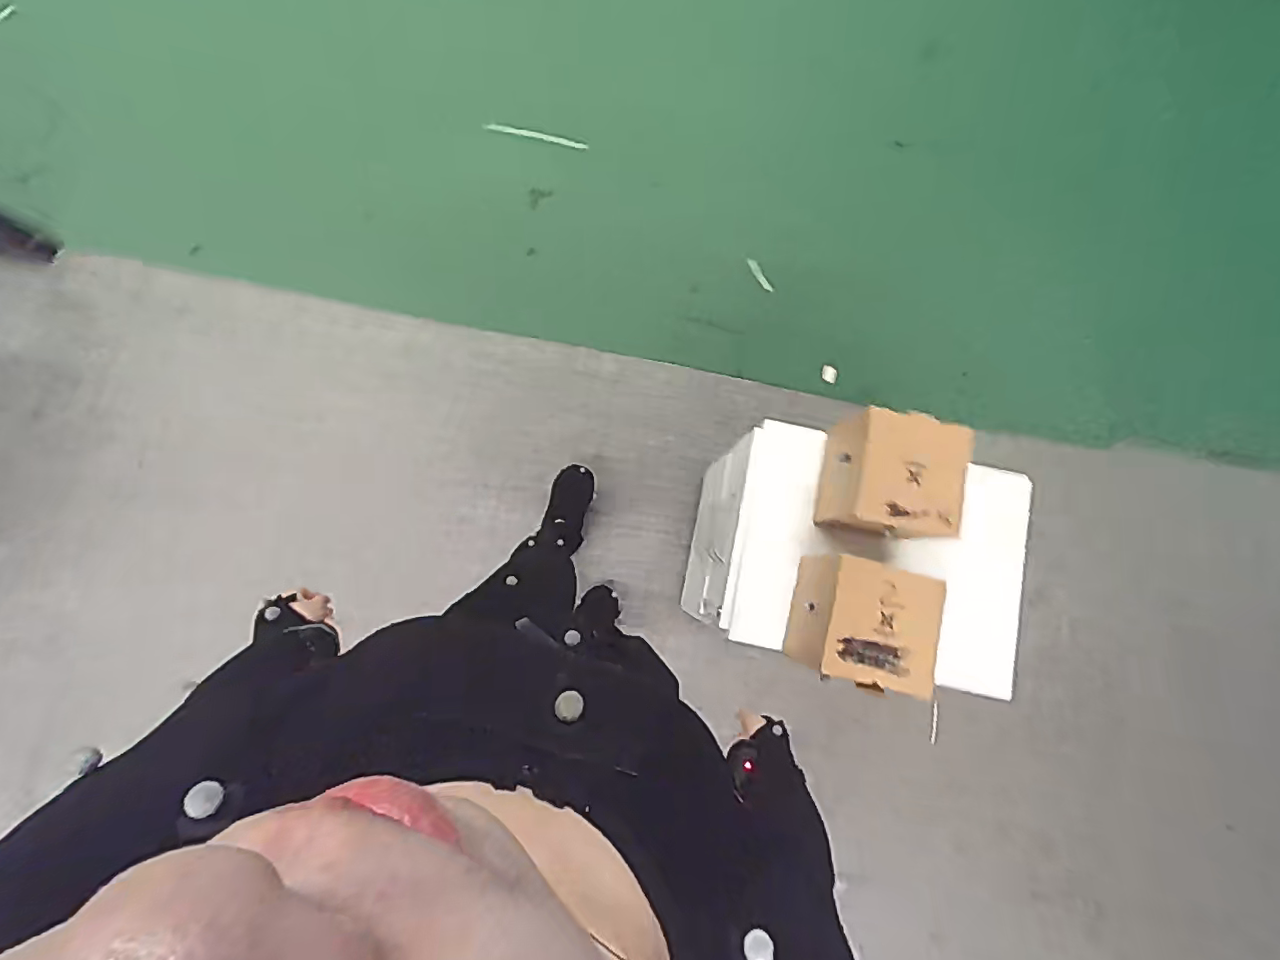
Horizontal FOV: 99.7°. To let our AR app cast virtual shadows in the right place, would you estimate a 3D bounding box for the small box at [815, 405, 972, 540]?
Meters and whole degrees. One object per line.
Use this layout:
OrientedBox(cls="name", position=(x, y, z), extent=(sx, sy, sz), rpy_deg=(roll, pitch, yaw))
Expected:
OrientedBox(cls="small box", position=(0.408, -0.004, 0.893), extent=(0.168, 0.176, 0.179), rpy_deg=(13, 82, -2))
